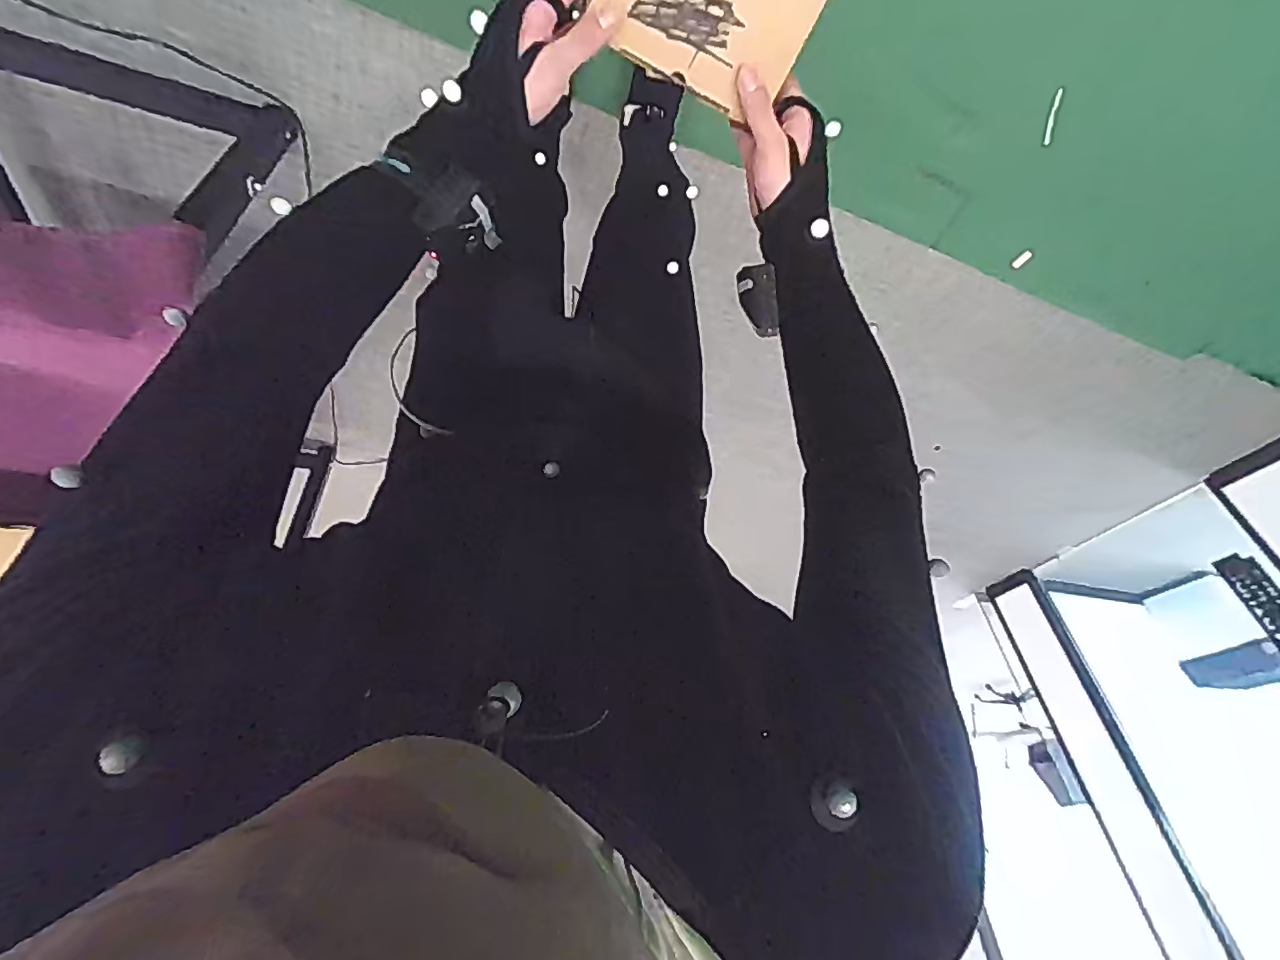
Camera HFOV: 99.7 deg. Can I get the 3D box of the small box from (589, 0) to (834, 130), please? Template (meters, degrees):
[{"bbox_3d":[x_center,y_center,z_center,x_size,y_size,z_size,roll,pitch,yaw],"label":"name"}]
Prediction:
[{"bbox_3d":[0.063,-0.438,0.444,0.168,0.176,0.179,13,133,-22],"label":"small box"}]
